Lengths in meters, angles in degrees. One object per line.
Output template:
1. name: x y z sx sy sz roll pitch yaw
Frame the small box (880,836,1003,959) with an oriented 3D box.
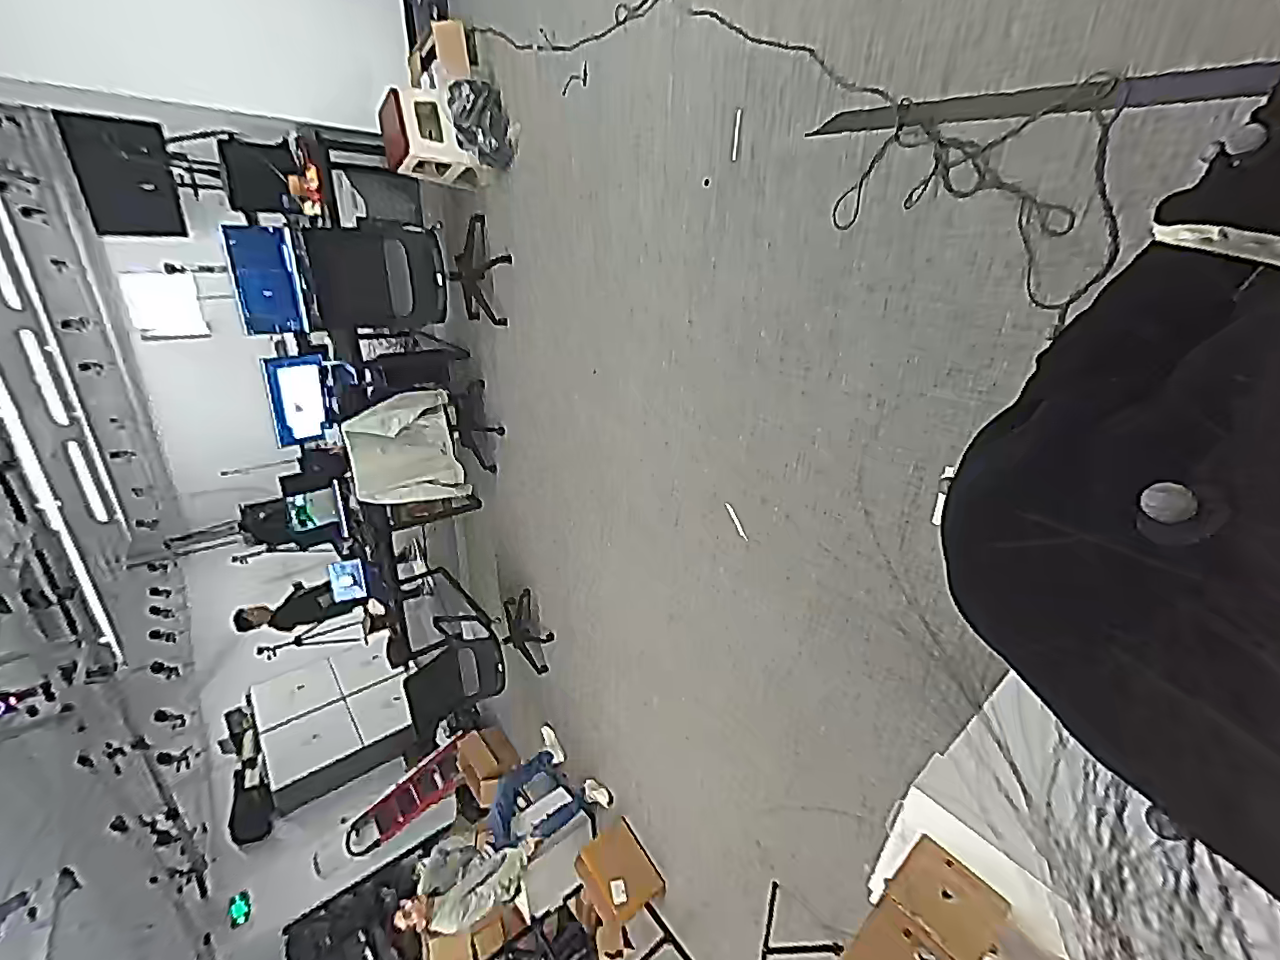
1. small box: 0.553 0.831 1.023 0.168 0.176 0.179 31 125 42

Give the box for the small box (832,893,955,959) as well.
1. small box: 0.428 0.879 0.931 0.168 0.176 0.179 30 126 41
